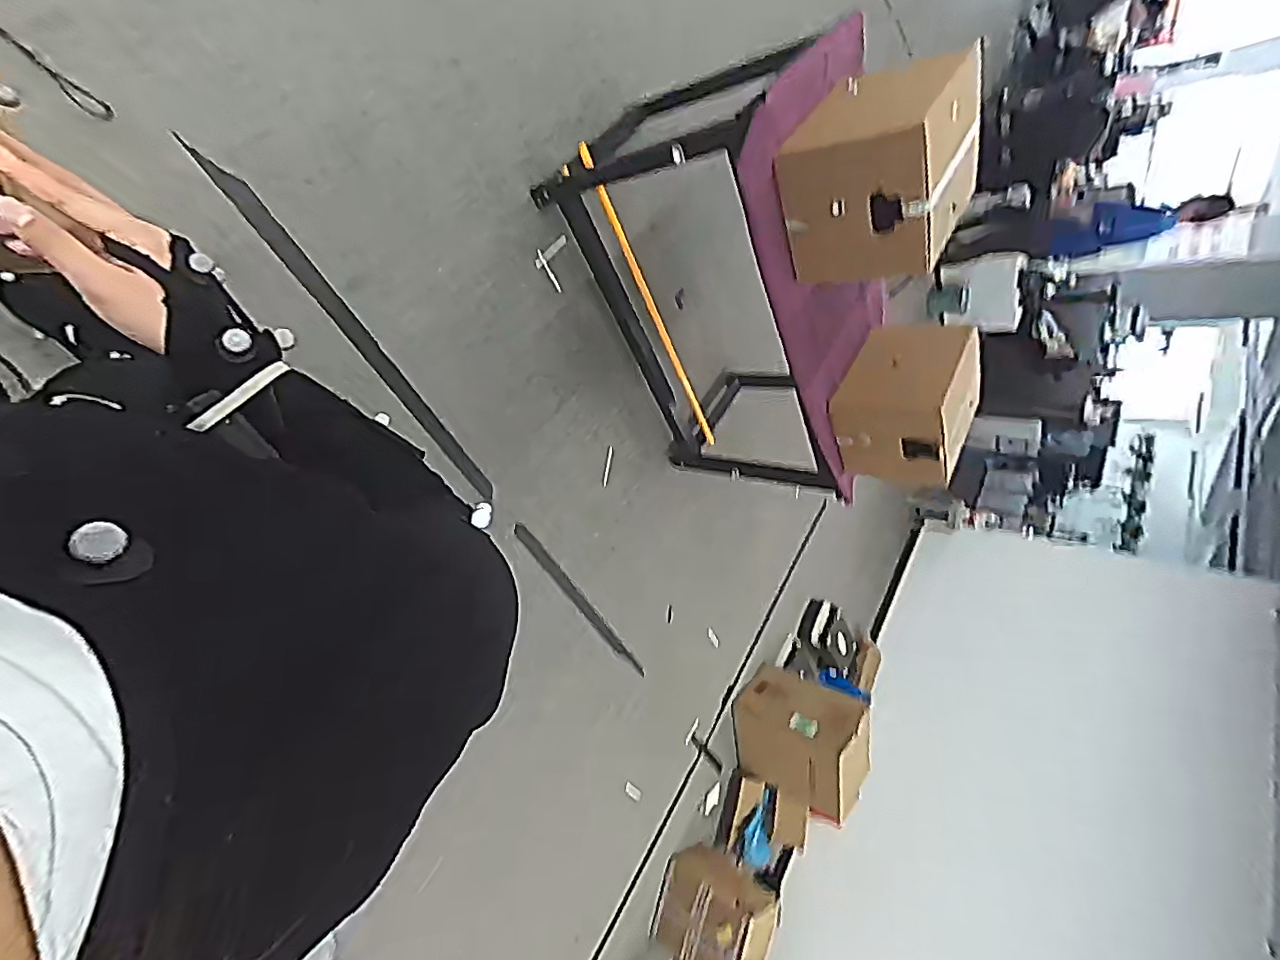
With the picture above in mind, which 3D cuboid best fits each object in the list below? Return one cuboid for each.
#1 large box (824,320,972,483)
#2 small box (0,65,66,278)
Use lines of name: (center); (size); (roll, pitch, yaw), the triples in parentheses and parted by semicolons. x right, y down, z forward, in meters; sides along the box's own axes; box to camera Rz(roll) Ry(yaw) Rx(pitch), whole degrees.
large box: (0.820, -0.250, 1.704); (0.408, 0.320, 0.320); (-55, 135, -27)
small box: (-0.468, -0.221, 0.292); (0.168, 0.176, 0.179); (-19, 103, -35)
